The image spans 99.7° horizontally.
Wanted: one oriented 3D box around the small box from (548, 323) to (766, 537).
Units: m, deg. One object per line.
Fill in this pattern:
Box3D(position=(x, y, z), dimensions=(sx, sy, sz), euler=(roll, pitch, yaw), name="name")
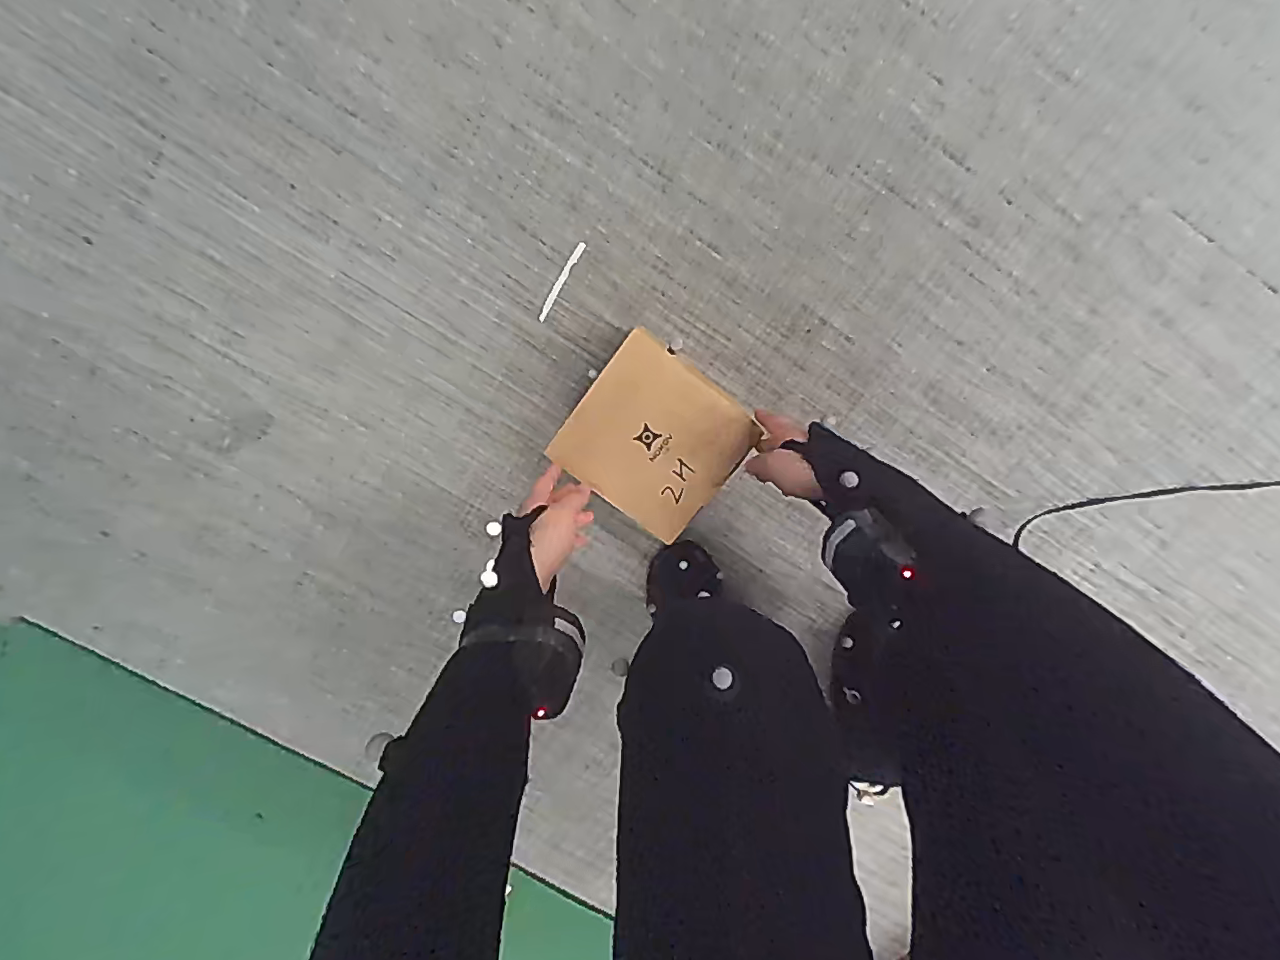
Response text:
Box3D(position=(0.020, -0.066, 0.649), dimensions=(0.179, 0.176, 0.168), euler=(37, 105, -8), name="small box")
